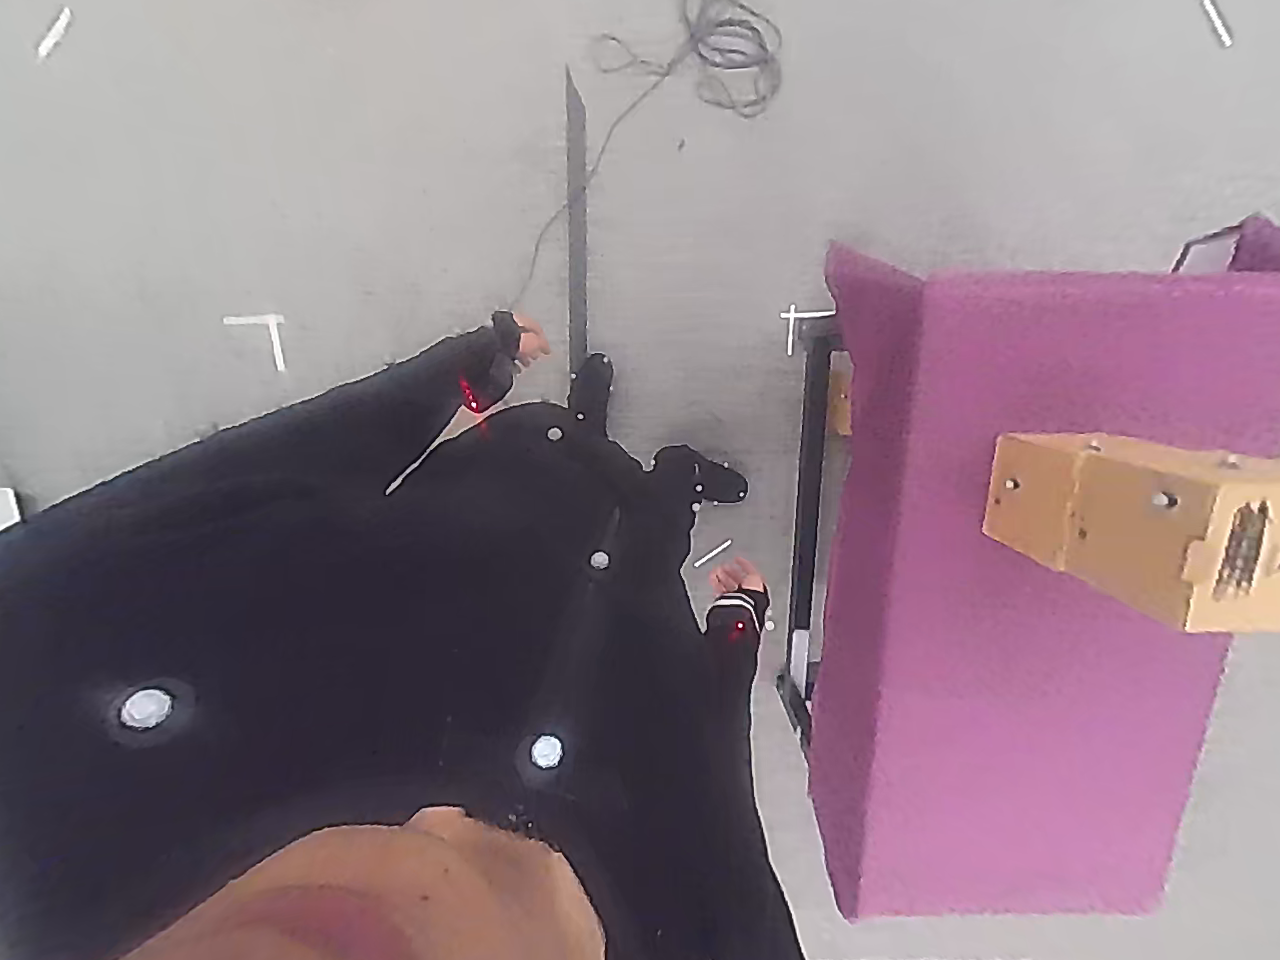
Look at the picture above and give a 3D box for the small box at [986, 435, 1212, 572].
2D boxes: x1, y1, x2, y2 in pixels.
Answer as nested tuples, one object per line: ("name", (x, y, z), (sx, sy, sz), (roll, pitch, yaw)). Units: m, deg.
("small box", (0.661, 0.027, 0.802), (0.179, 0.176, 0.168), (0, 104, 1))
